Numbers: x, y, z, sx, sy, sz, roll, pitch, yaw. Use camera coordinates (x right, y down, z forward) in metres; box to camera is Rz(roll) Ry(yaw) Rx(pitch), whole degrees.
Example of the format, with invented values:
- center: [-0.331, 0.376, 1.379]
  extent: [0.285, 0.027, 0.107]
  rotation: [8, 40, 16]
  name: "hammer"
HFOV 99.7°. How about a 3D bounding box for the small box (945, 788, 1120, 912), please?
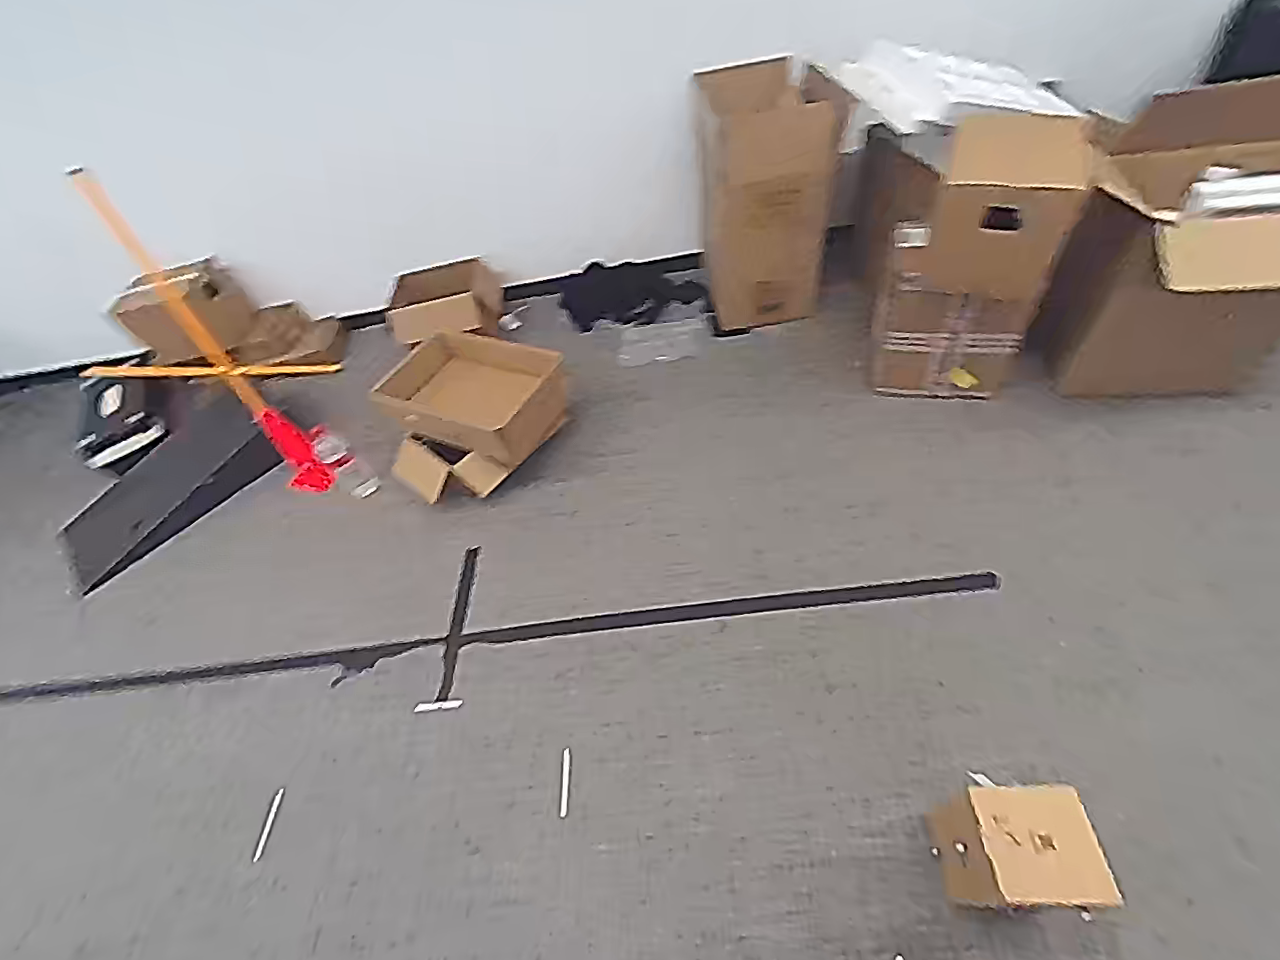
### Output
- center: [0.675, 0.656, 0.957]
  extent: [0.179, 0.176, 0.168]
  rotation: [-5, 50, 9]
  name: "small box"
